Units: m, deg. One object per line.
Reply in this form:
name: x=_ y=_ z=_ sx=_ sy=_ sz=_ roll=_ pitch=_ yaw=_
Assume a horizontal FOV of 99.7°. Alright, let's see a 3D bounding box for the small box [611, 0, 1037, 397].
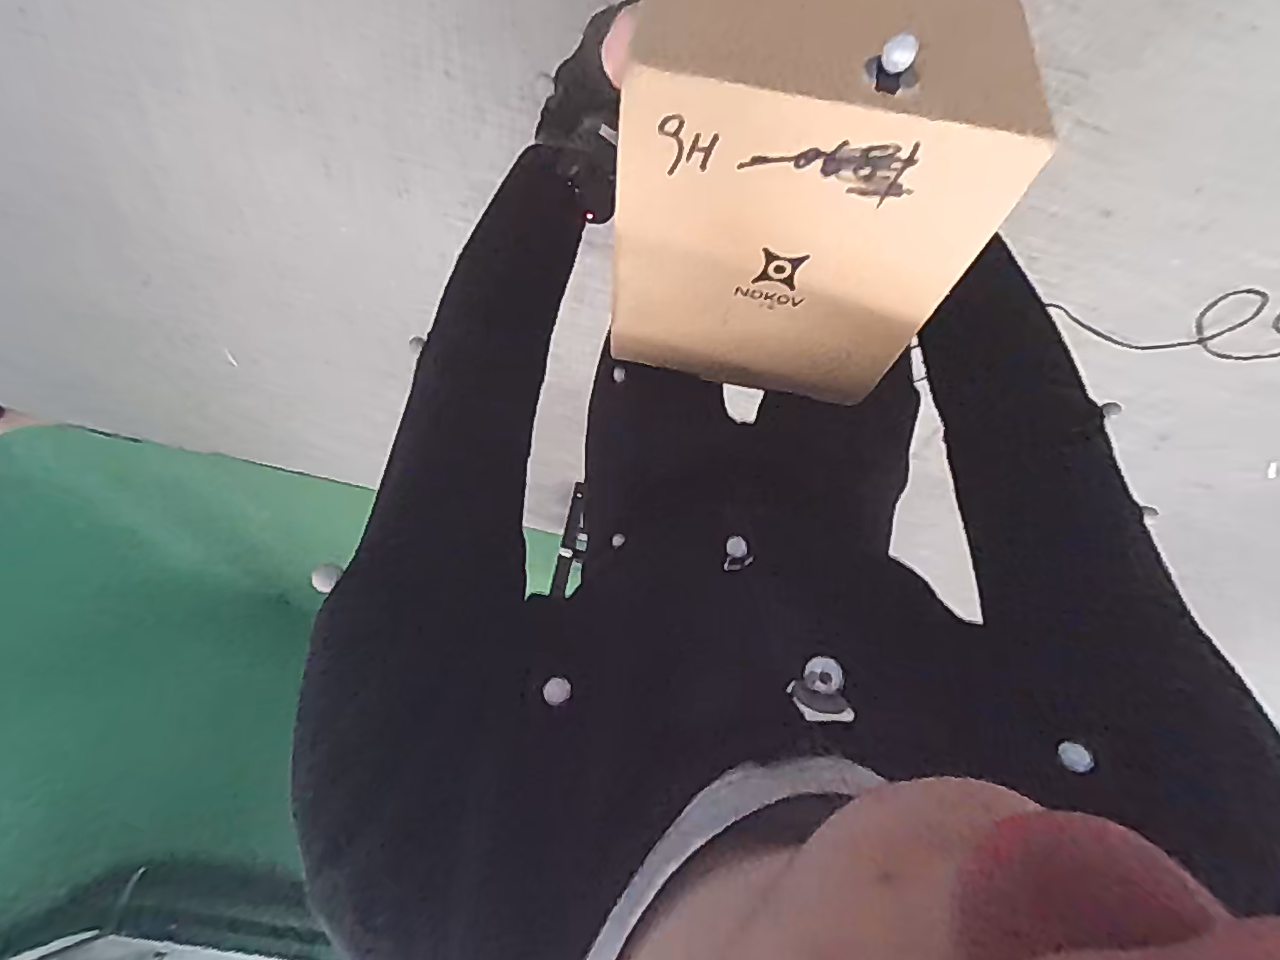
small box: x=0.081 y=-0.177 z=0.310 sx=0.168 sy=0.176 sz=0.179 roll=11 pitch=156 yaw=1
